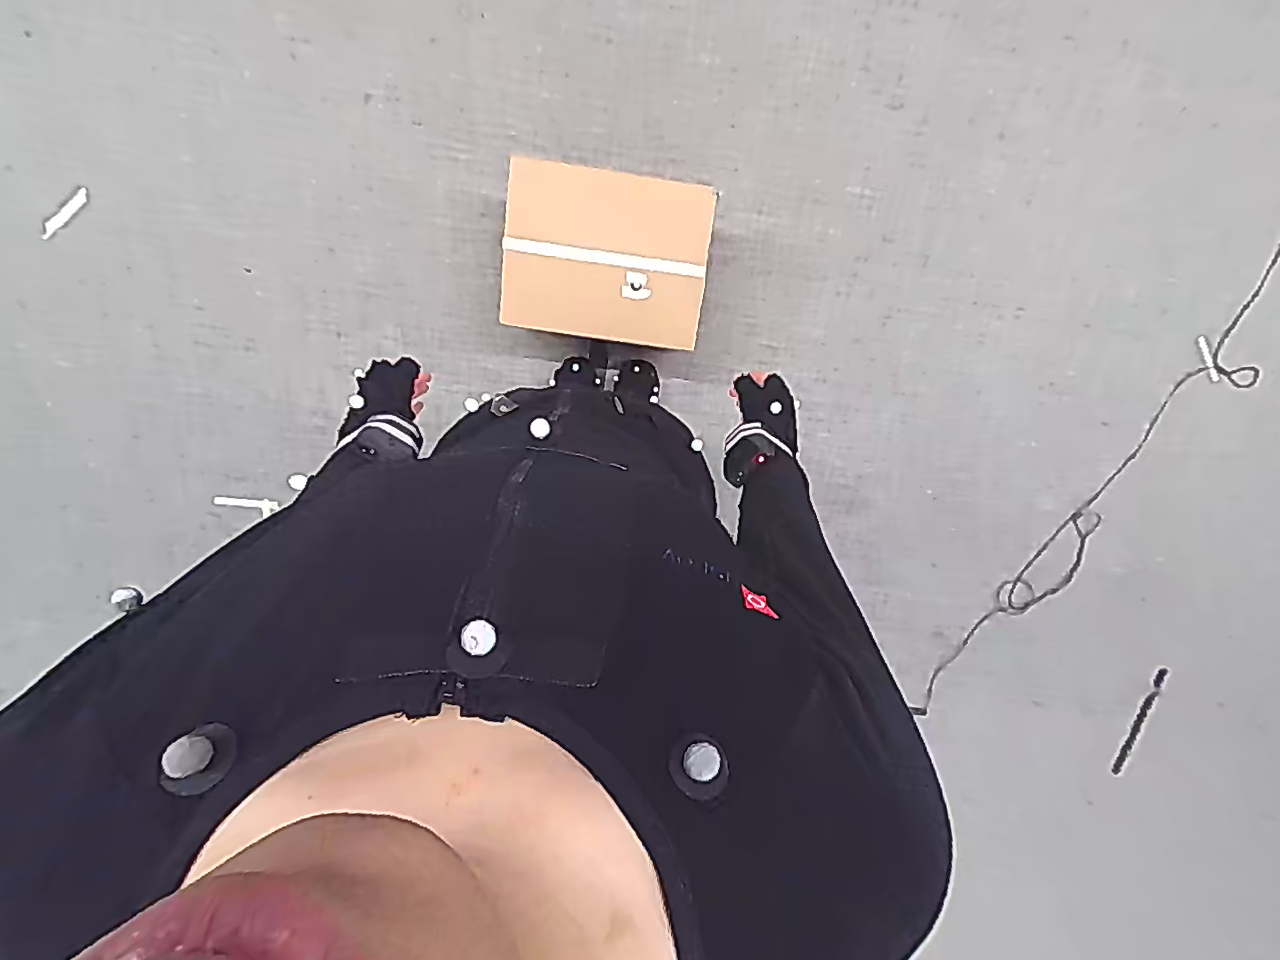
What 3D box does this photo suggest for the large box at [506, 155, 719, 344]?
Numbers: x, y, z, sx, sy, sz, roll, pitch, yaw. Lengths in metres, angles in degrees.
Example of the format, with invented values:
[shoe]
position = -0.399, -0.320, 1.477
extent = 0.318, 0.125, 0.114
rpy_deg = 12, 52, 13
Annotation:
[large box]
position = -0.066, -0.486, 1.214
extent = 0.408, 0.320, 0.320
rpy_deg = 7, 106, -4
